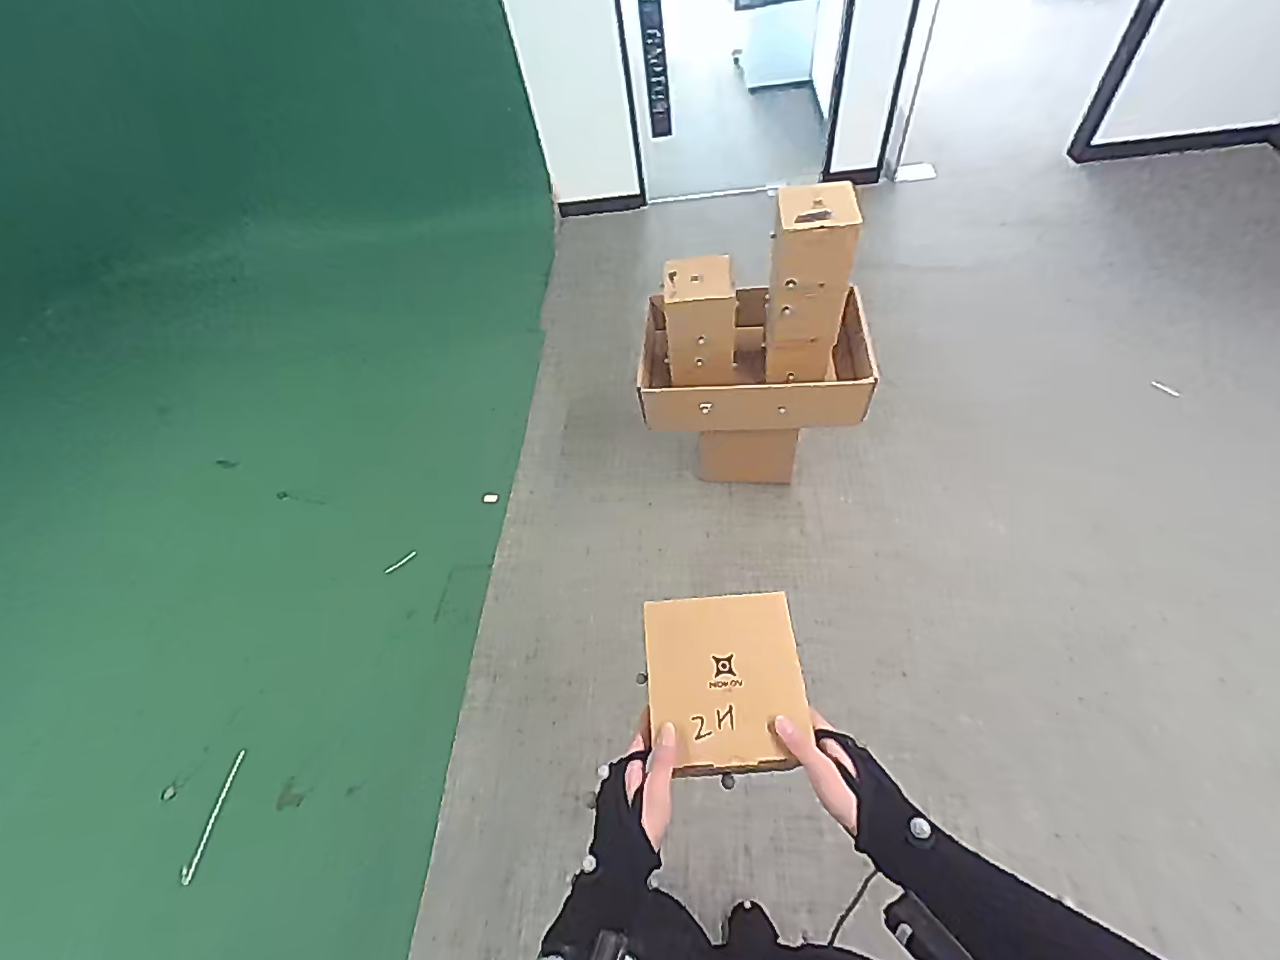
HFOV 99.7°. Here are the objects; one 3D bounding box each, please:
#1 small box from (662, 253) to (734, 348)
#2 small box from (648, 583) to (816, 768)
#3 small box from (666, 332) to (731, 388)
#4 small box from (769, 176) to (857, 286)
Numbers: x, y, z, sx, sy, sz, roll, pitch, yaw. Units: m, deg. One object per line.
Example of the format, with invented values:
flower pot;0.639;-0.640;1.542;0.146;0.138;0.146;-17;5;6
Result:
small box;0.151;-0.467;1.418;0.179;0.176;0.168;-3;56;6
small box;0.096;0.239;0.649;0.168;0.176;0.179;-4;59;2
small box;0.170;-0.377;1.554;0.179;0.176;0.168;-1;57;7
small box;0.391;-0.566;1.247;0.168;0.176;0.179;0;56;8
